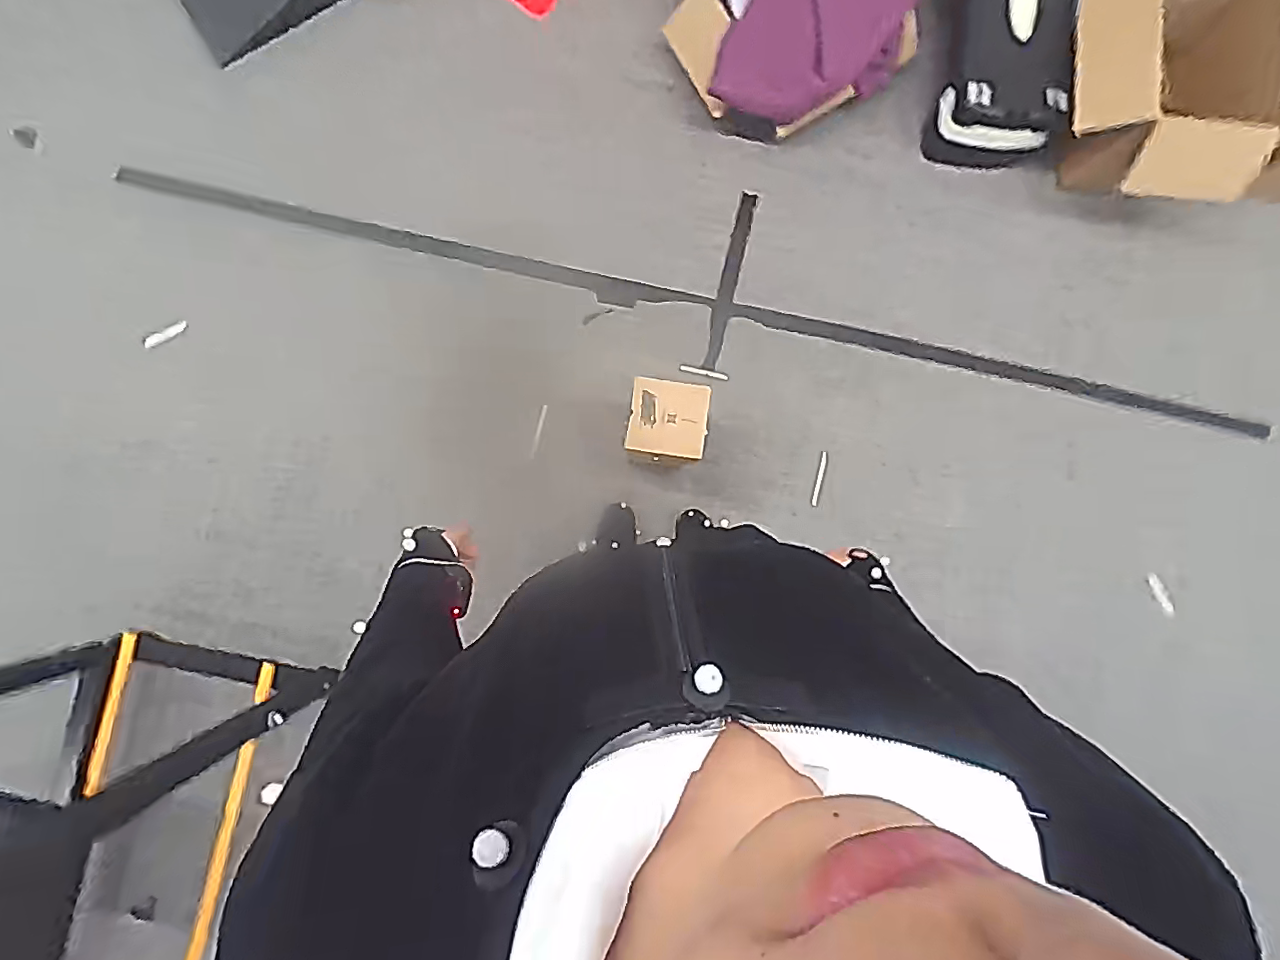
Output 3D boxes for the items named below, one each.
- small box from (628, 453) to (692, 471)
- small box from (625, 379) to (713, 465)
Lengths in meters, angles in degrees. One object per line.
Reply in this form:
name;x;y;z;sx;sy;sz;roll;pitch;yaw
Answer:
small box;0.059;-0.122;1.439;0.168;0.176;0.179;7;89;1
small box;0.065;-0.128;1.274;0.179;0.176;0.168;9;88;0
